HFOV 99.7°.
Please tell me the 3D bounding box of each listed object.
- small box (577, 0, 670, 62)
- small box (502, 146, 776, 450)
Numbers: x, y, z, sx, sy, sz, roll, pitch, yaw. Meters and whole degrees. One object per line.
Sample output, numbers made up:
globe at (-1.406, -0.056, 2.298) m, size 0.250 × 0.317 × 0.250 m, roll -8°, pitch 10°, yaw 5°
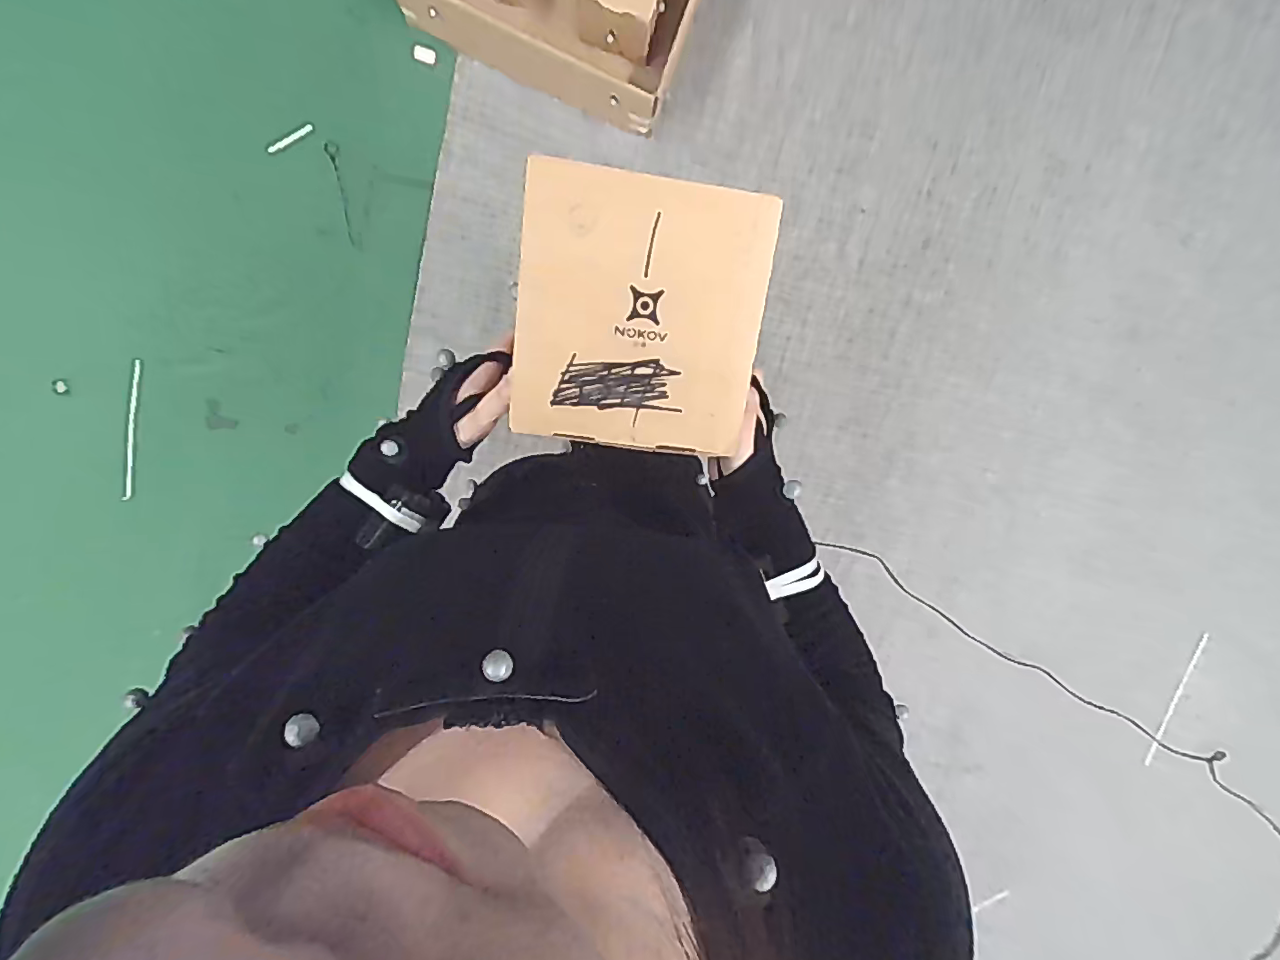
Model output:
small box at (-0.024, -1.037, 1.139) m, size 0.168 × 0.176 × 0.179 m, roll 17°, pitch 102°, yaw -6°
small box at (-0.010, -0.135, 0.438) m, size 0.168 × 0.176 × 0.179 m, roll 6°, pitch 105°, yaw -7°
